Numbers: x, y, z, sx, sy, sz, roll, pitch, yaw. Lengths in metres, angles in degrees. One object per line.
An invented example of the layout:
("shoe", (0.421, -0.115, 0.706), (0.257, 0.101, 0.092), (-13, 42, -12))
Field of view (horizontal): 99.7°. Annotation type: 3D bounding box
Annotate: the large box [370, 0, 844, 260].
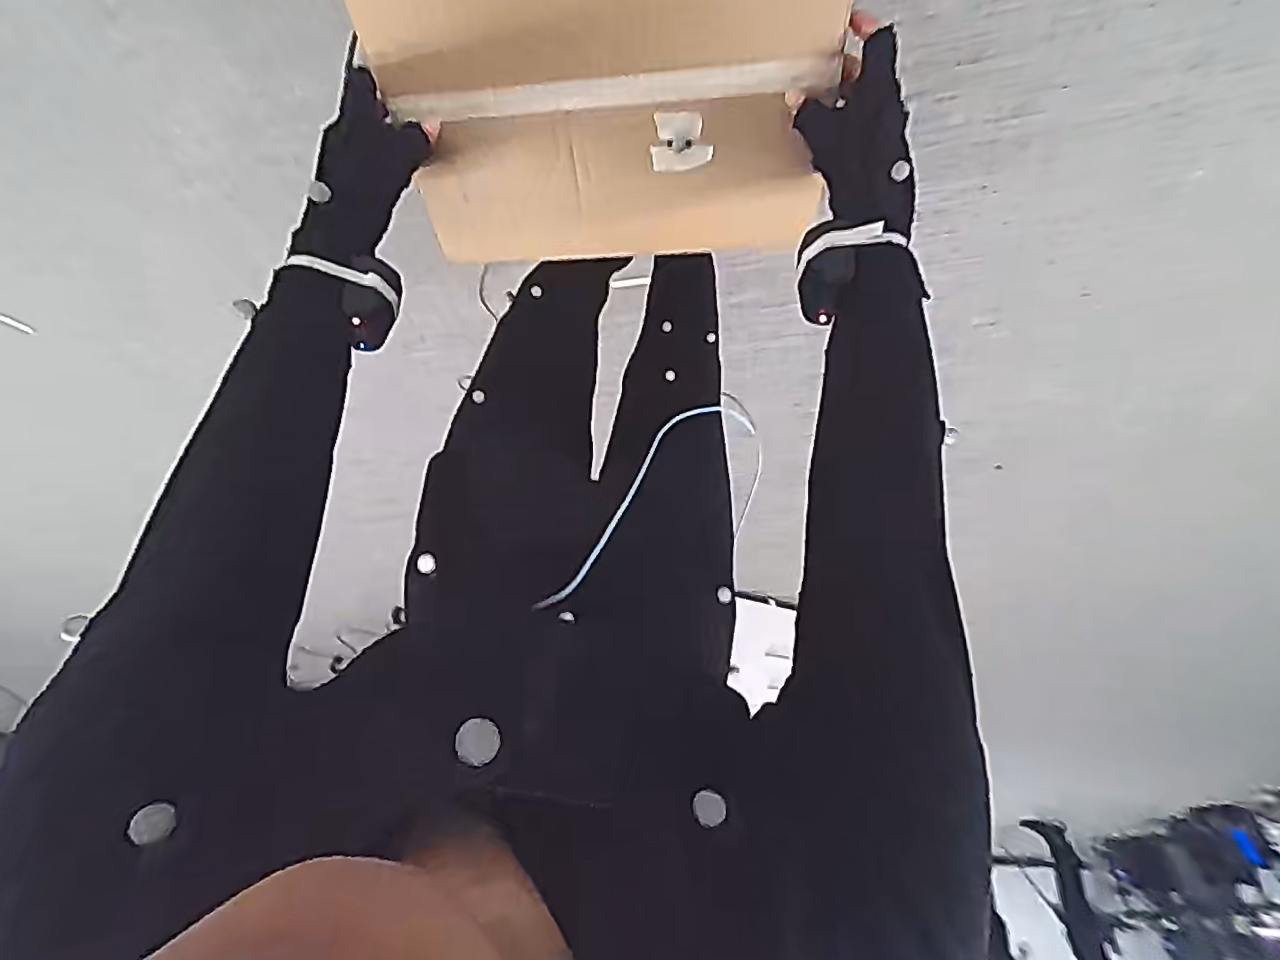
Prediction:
("large box", (-0.018, -0.476, 0.592), (0.408, 0.320, 0.320), (-1, 142, 6))
